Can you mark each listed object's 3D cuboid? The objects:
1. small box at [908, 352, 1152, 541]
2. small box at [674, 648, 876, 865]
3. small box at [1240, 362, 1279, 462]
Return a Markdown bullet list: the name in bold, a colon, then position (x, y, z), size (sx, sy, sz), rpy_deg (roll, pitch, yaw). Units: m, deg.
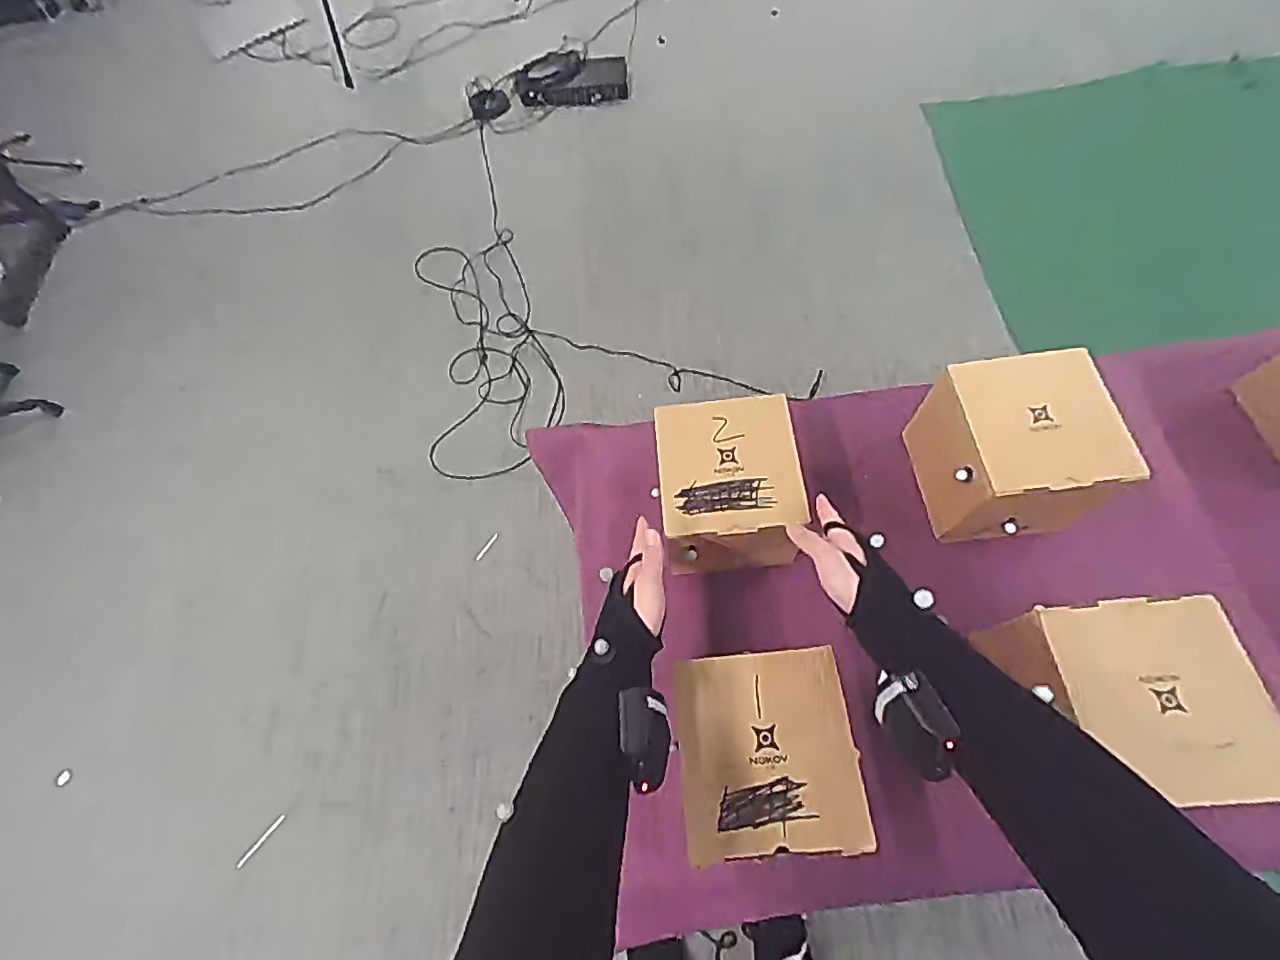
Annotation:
- **small box**: position (0.471, -0.035, 0.692), size (0.168, 0.176, 0.179), rpy_deg (-7, 66, 4)
- **small box**: position (0.130, 0.287, 0.581), size (0.168, 0.176, 0.179), rpy_deg (-7, 64, 3)
- **small box**: position (0.921, -0.097, 0.658), size (0.168, 0.176, 0.179), rpy_deg (-9, 65, 6)
